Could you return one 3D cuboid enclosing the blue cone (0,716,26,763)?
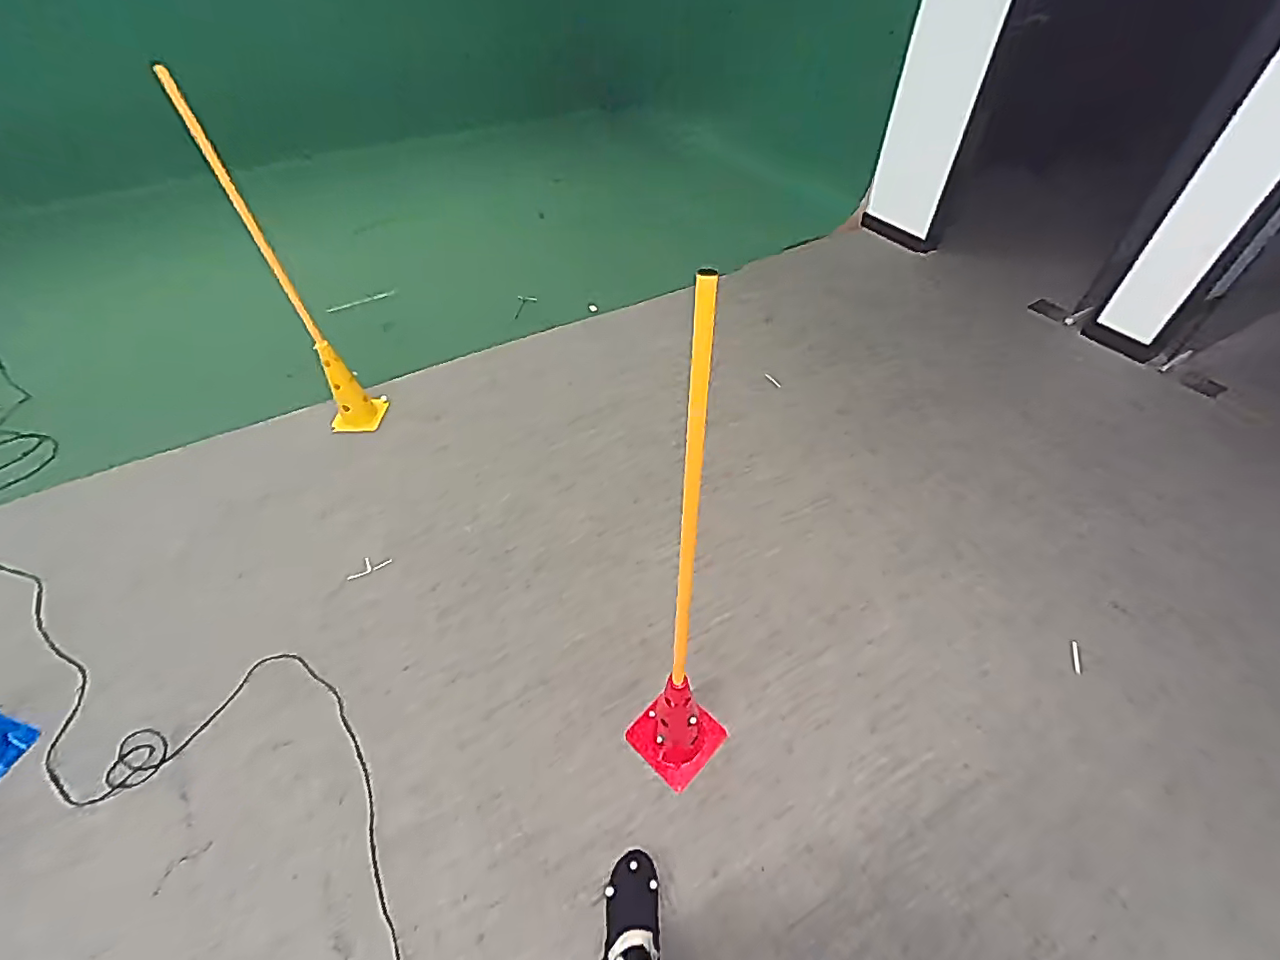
[{"bbox_3d":[-1.730,0.609,1.270,0.192,0.380,0.193,12,52,11],"label":"blue cone"}]
